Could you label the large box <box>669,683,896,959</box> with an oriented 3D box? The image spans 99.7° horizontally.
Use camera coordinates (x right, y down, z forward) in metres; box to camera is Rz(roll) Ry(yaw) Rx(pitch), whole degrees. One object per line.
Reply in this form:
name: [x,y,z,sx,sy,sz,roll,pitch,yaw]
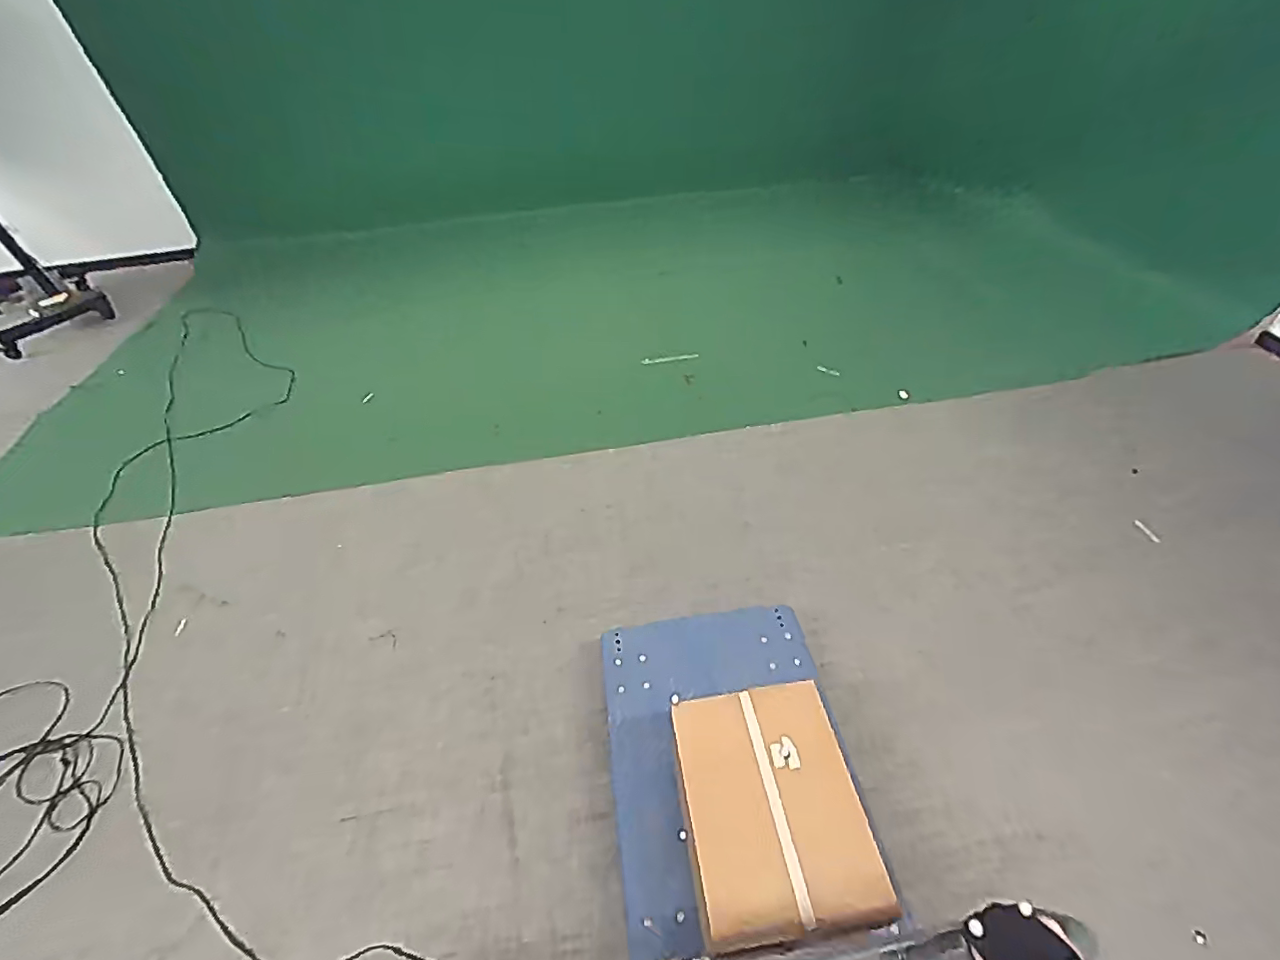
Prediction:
large box: [0.254,0.702,1.115,0.320,0.320,0.408,-8,44,-3]
